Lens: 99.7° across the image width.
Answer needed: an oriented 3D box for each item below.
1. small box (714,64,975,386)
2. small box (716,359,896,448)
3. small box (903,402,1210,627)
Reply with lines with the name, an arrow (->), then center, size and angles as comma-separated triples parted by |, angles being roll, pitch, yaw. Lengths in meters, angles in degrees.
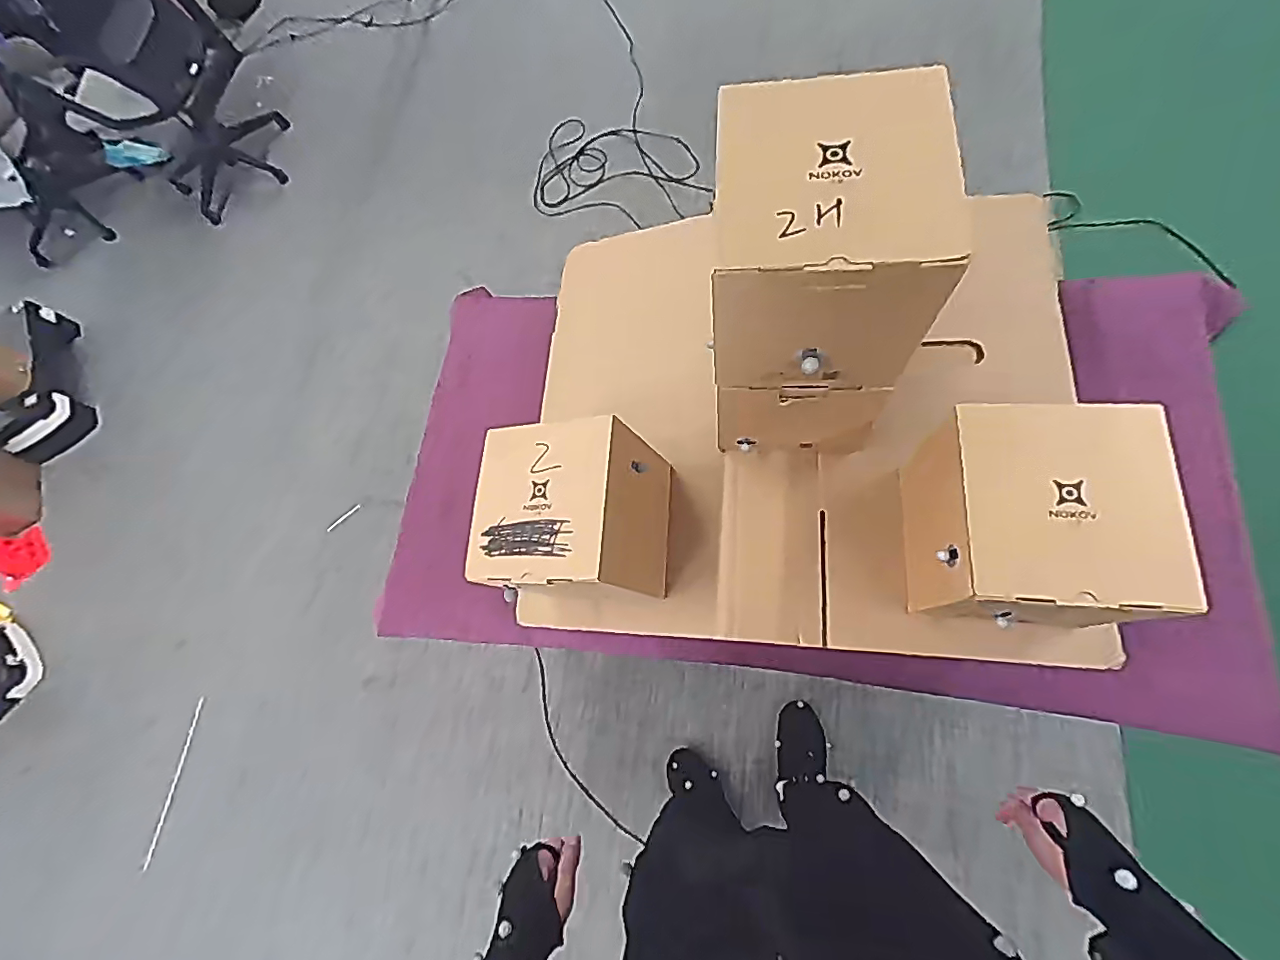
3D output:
small box -> 0.149, -0.197, 0.452 | 0.168, 0.176, 0.179 | 2, 73, 9
small box -> 0.174, -0.143, 0.605 | 0.168, 0.176, 0.179 | 2, 72, 9
small box -> 0.366, 0.041, 0.518 | 0.168, 0.176, 0.179 | 2, 73, 9
